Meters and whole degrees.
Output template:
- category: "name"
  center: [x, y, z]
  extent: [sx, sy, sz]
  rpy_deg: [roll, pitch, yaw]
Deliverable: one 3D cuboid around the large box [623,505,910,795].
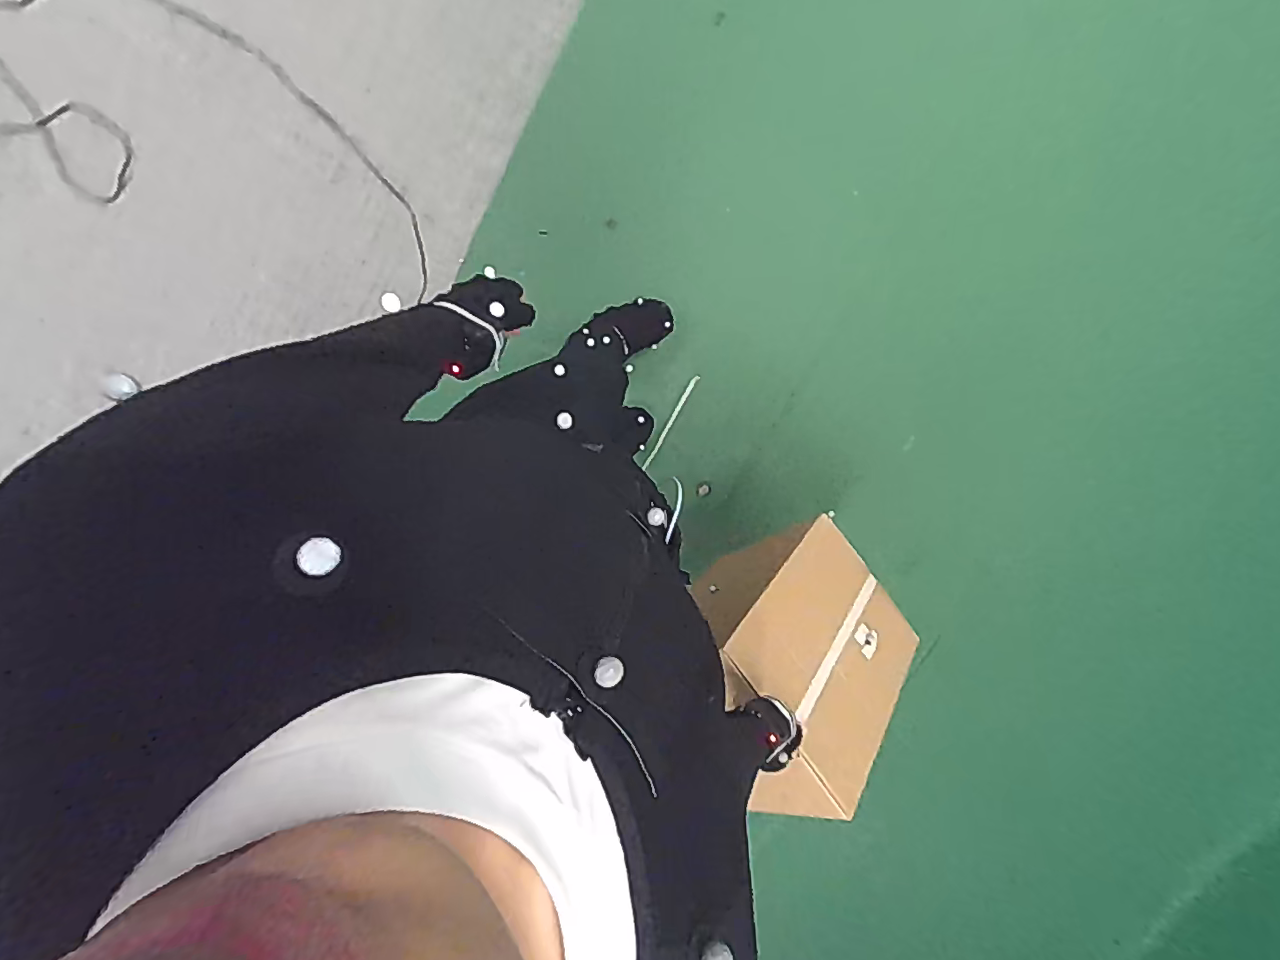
- category: "large box"
  center: [0.246, 0.320, 1.034]
  extent: [0.320, 0.408, 0.320]
  rpy_deg: [53, 137, -1]
